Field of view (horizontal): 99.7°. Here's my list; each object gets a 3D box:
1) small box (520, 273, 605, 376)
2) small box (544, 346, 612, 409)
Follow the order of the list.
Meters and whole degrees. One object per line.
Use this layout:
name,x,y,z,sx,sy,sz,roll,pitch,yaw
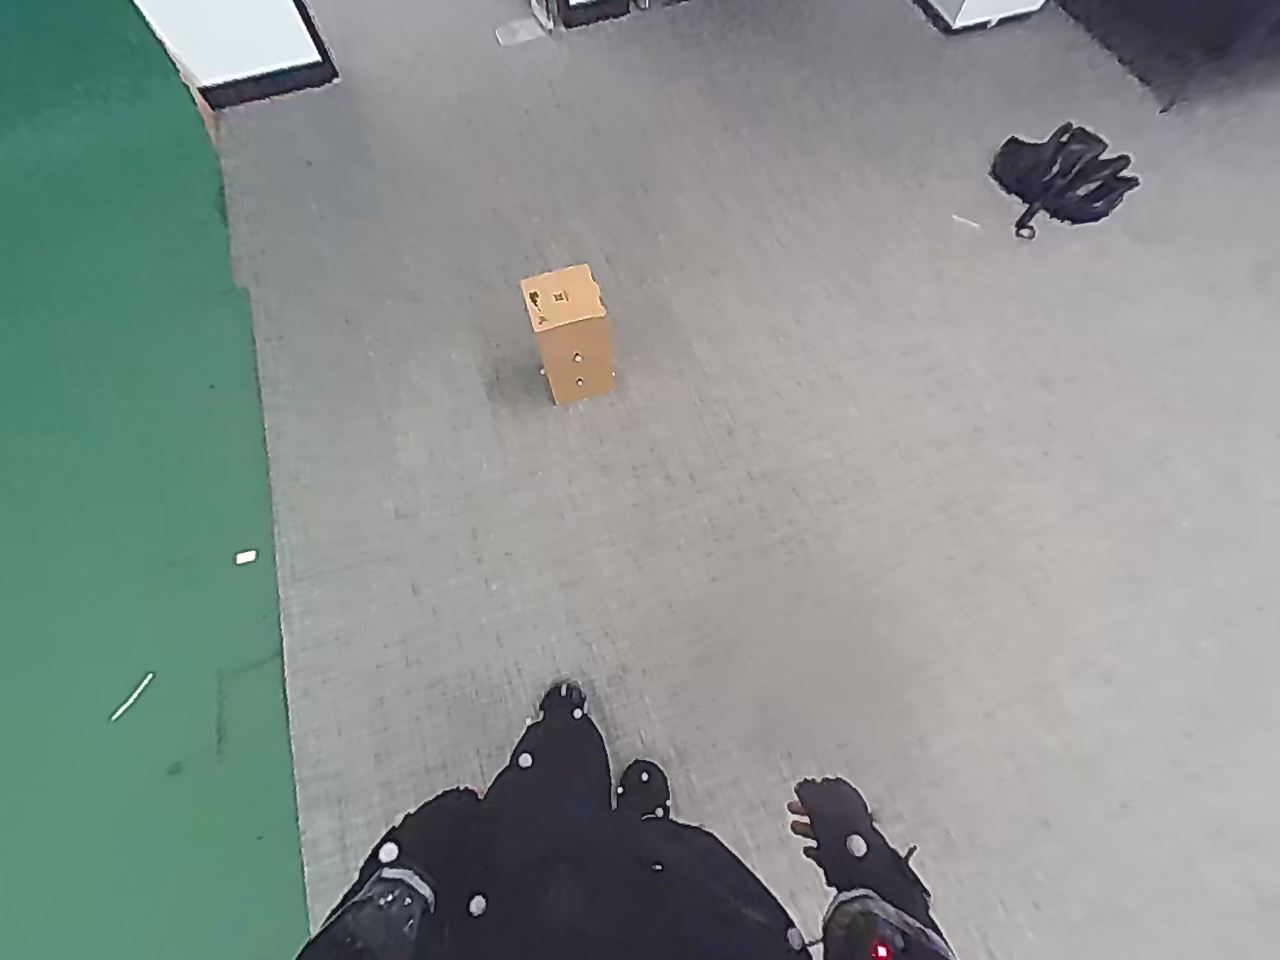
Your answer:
small box,-0.191,-0.391,1.378,0.179,0.176,0.168,-16,68,-6
small box,-0.186,-0.327,1.529,0.179,0.176,0.168,-19,69,-8
